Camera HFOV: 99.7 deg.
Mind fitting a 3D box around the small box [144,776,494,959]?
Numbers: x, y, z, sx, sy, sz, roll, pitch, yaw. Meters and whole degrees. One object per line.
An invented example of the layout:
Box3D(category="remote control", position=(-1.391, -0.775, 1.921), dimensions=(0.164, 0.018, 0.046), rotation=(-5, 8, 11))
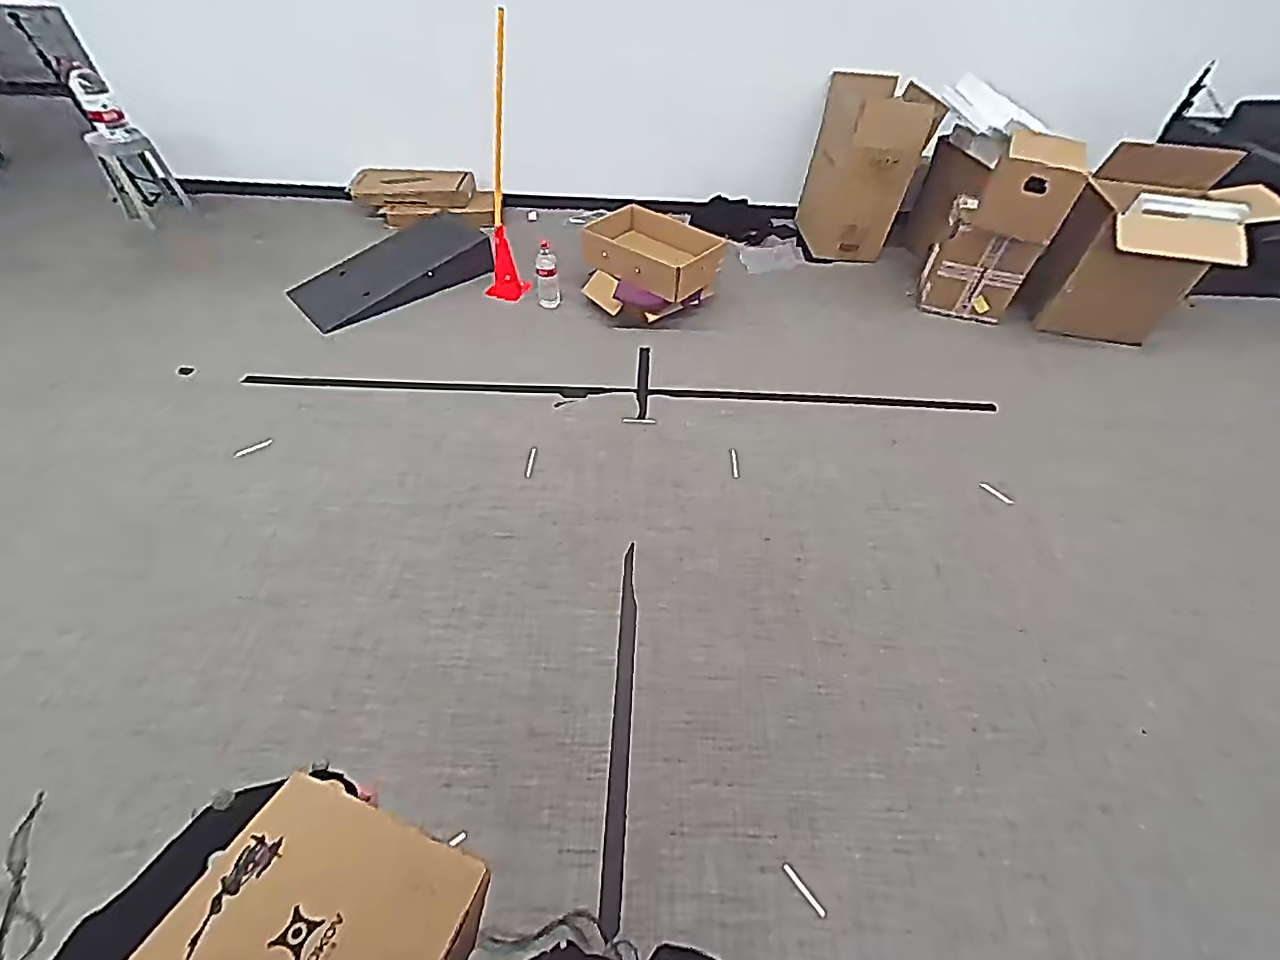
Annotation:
Box3D(category="small box", position=(-0.233, 0.369, 0.401), dimensions=(0.179, 0.176, 0.168), rotation=(22, 33, 6))
